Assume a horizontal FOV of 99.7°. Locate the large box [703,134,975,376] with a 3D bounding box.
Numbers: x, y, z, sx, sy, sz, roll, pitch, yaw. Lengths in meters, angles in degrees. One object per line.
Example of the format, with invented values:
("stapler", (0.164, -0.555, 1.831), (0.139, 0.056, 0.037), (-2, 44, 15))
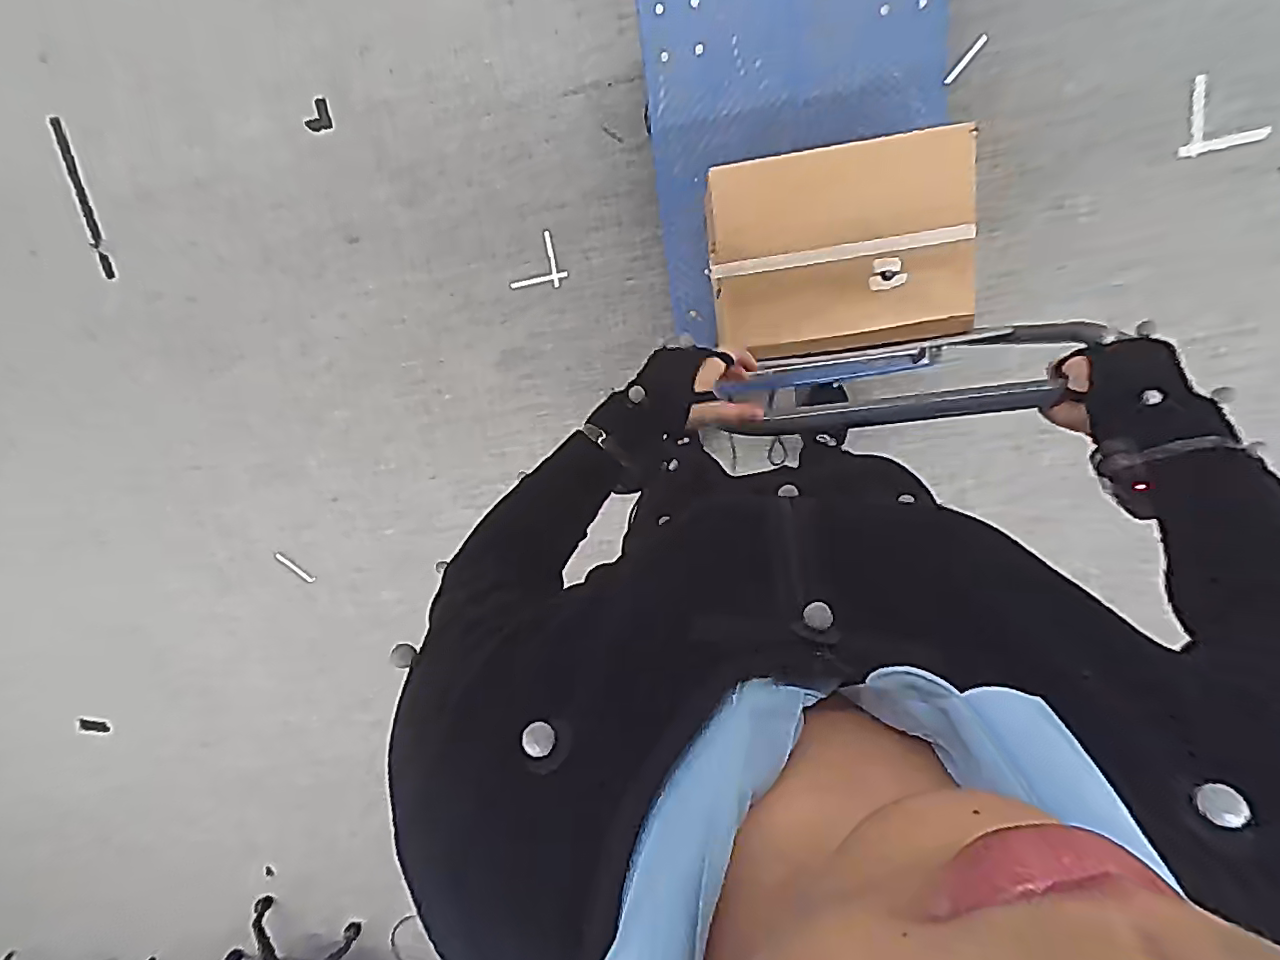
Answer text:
("large box", (0.339, -0.385, 1.013), (0.408, 0.320, 0.320), (-6, 104, 7))
